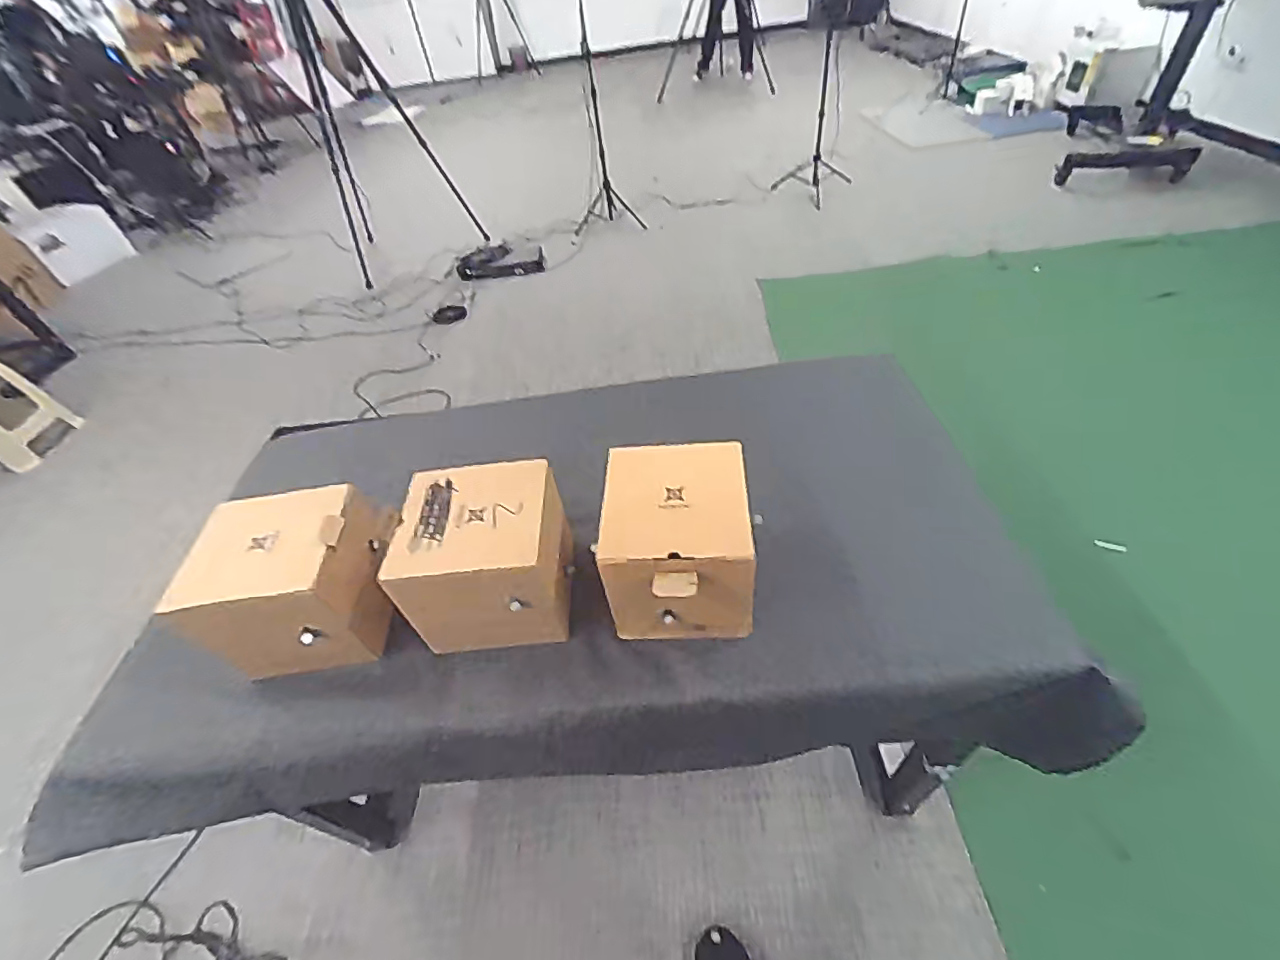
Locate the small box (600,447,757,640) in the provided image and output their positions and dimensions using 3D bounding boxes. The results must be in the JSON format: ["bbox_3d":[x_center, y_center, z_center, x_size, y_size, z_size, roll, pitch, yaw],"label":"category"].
[{"bbox_3d":[0.049,0.079,0.673,0.168,0.176,0.179,-2,46,6],"label":"small box"}]

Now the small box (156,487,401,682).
[{"bbox_3d":[-0.432,0.135,0.690,0.179,0.176,0.168,-10,44,0],"label":"small box"}]
